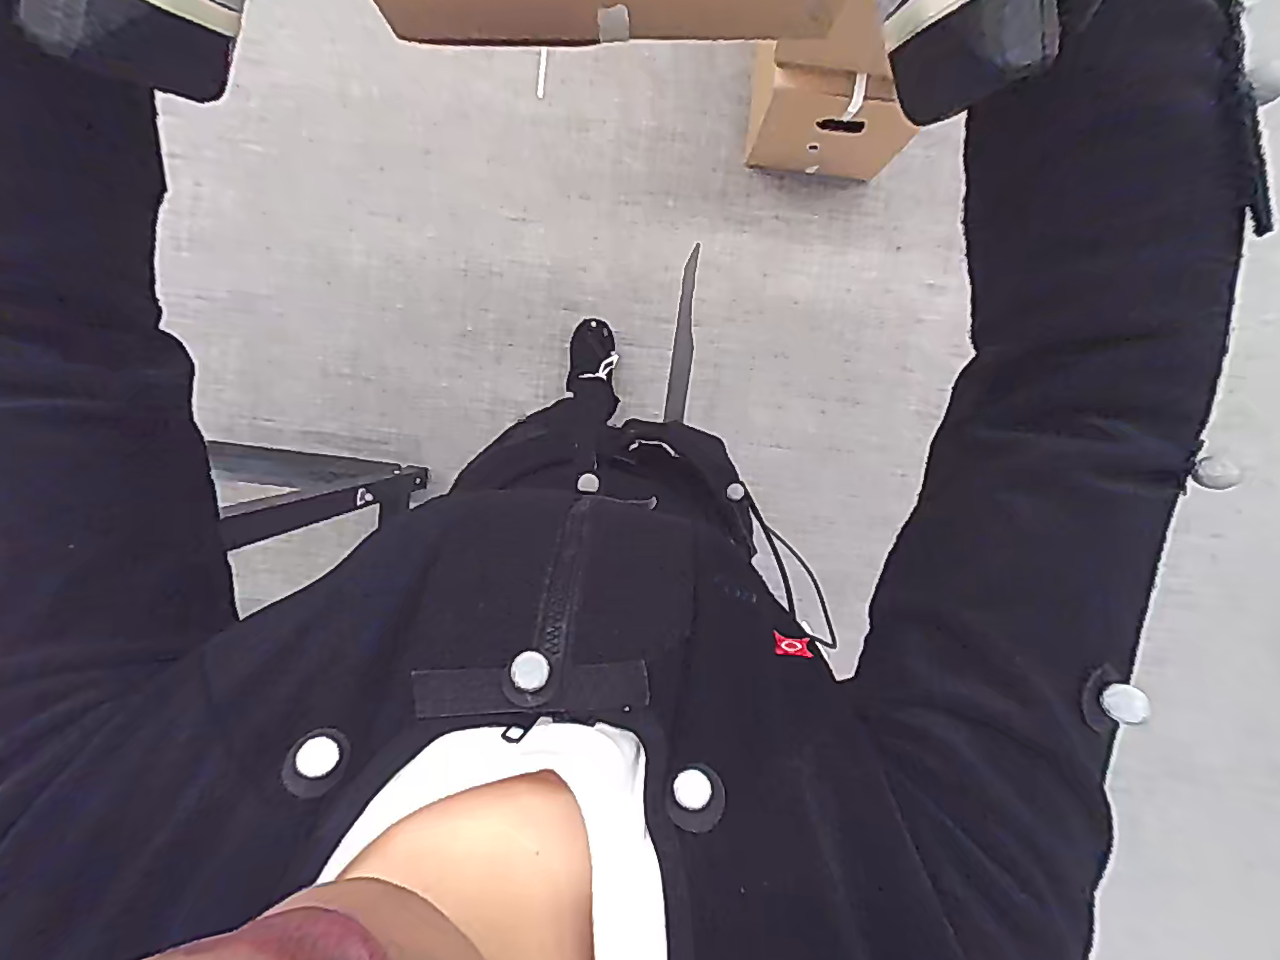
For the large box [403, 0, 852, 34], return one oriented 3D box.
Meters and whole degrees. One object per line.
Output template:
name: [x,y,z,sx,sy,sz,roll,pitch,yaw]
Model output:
large box: [-0.010,-0.494,0.208,0.320,0.320,0.408,-1,97,1]
